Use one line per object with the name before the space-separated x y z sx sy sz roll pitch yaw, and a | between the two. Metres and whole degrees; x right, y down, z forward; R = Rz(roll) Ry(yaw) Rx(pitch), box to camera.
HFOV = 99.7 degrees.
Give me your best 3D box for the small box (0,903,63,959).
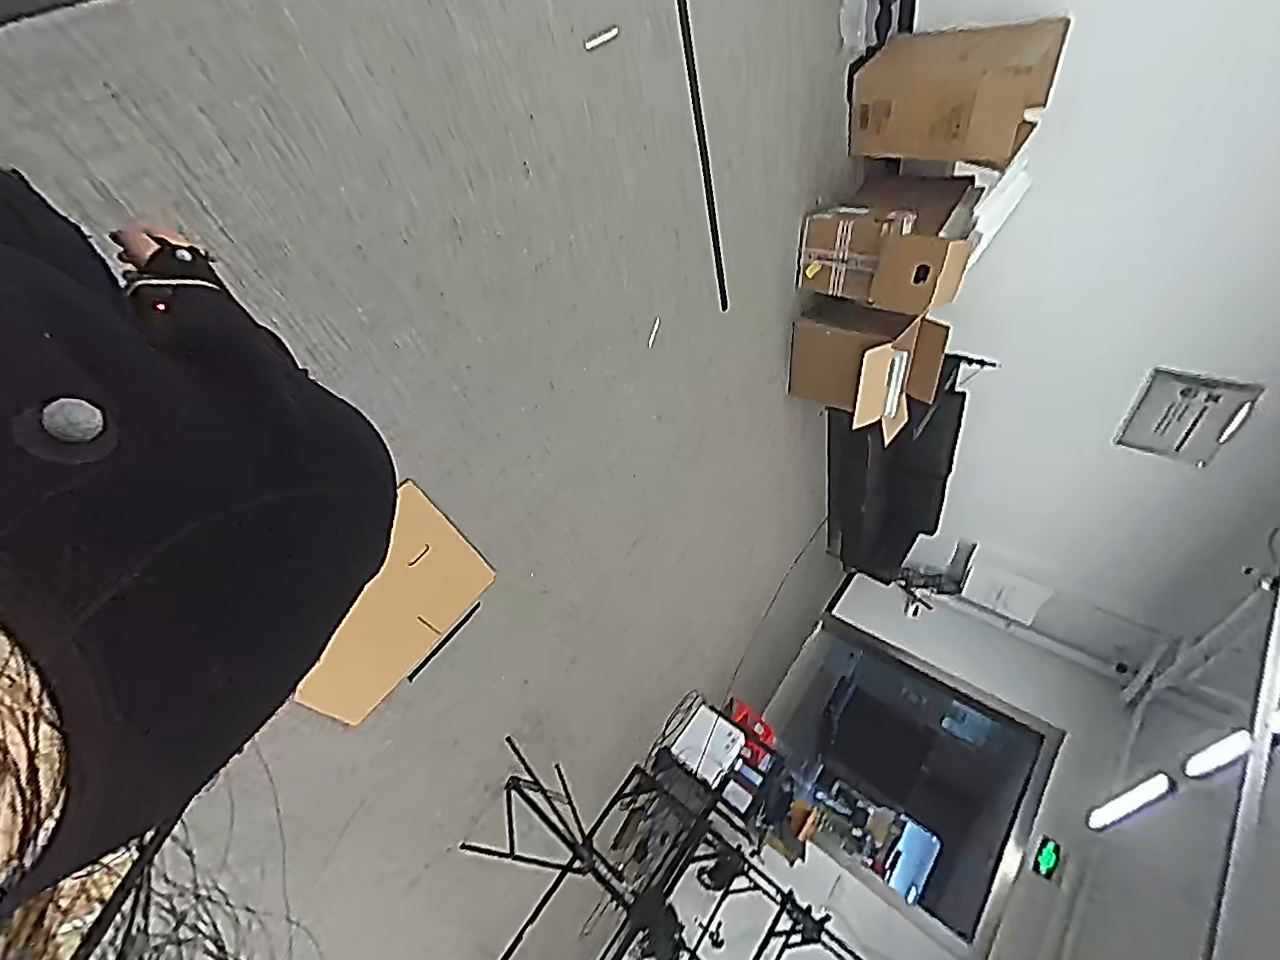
small box | -1.182 0.928 0.976 0.179 0.176 0.168 6 104 -53
